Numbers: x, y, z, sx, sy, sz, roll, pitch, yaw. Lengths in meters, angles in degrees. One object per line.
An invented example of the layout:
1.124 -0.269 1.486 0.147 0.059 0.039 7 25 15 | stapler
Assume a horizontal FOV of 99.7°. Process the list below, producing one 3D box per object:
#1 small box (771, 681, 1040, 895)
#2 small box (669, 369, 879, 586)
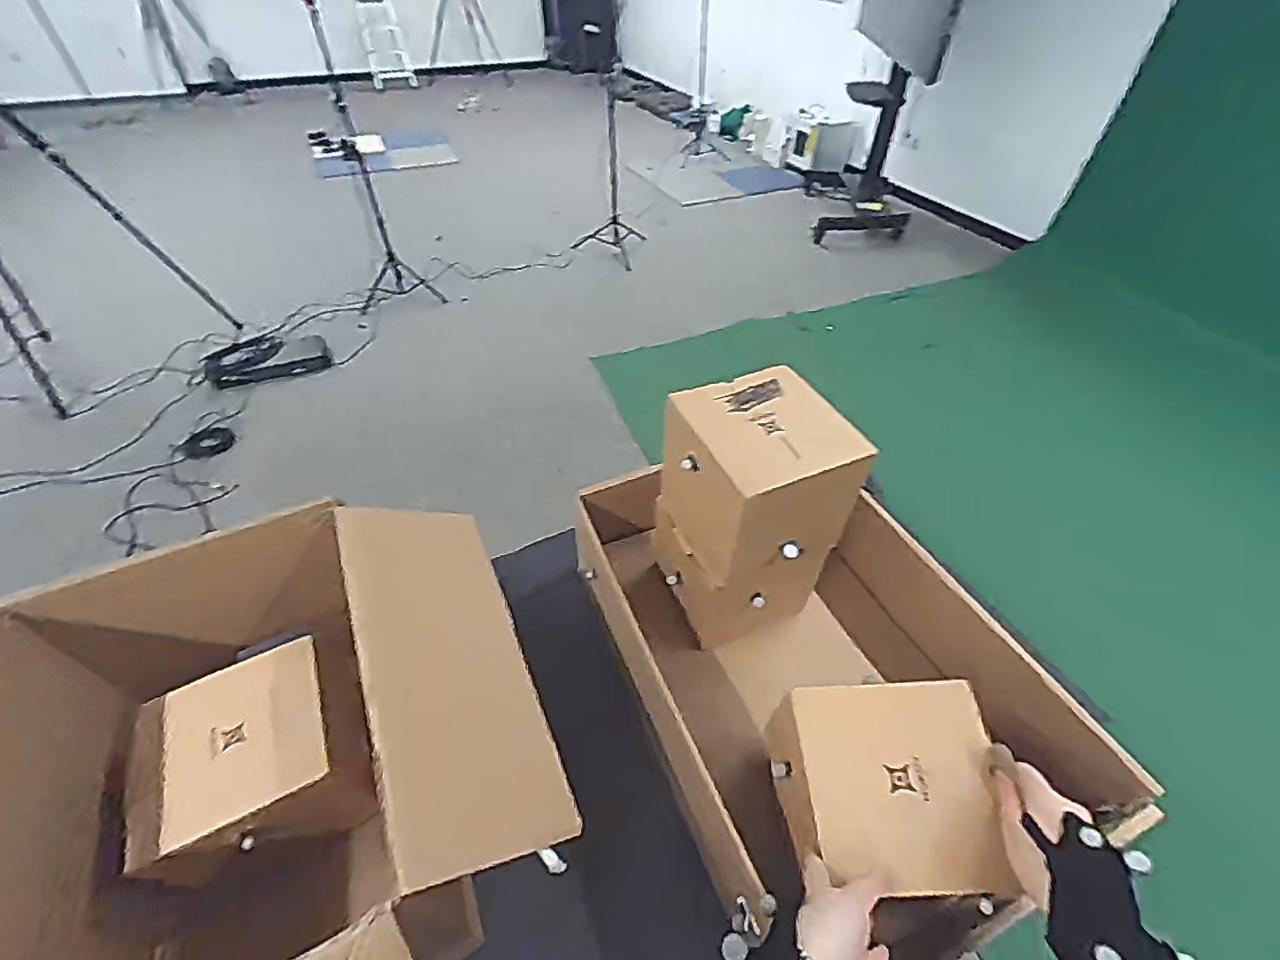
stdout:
0.236 0.312 0.544 0.179 0.176 0.168 -3 55 0 | small box
0.143 -0.004 0.656 0.168 0.176 0.179 -17 50 -16 | small box
